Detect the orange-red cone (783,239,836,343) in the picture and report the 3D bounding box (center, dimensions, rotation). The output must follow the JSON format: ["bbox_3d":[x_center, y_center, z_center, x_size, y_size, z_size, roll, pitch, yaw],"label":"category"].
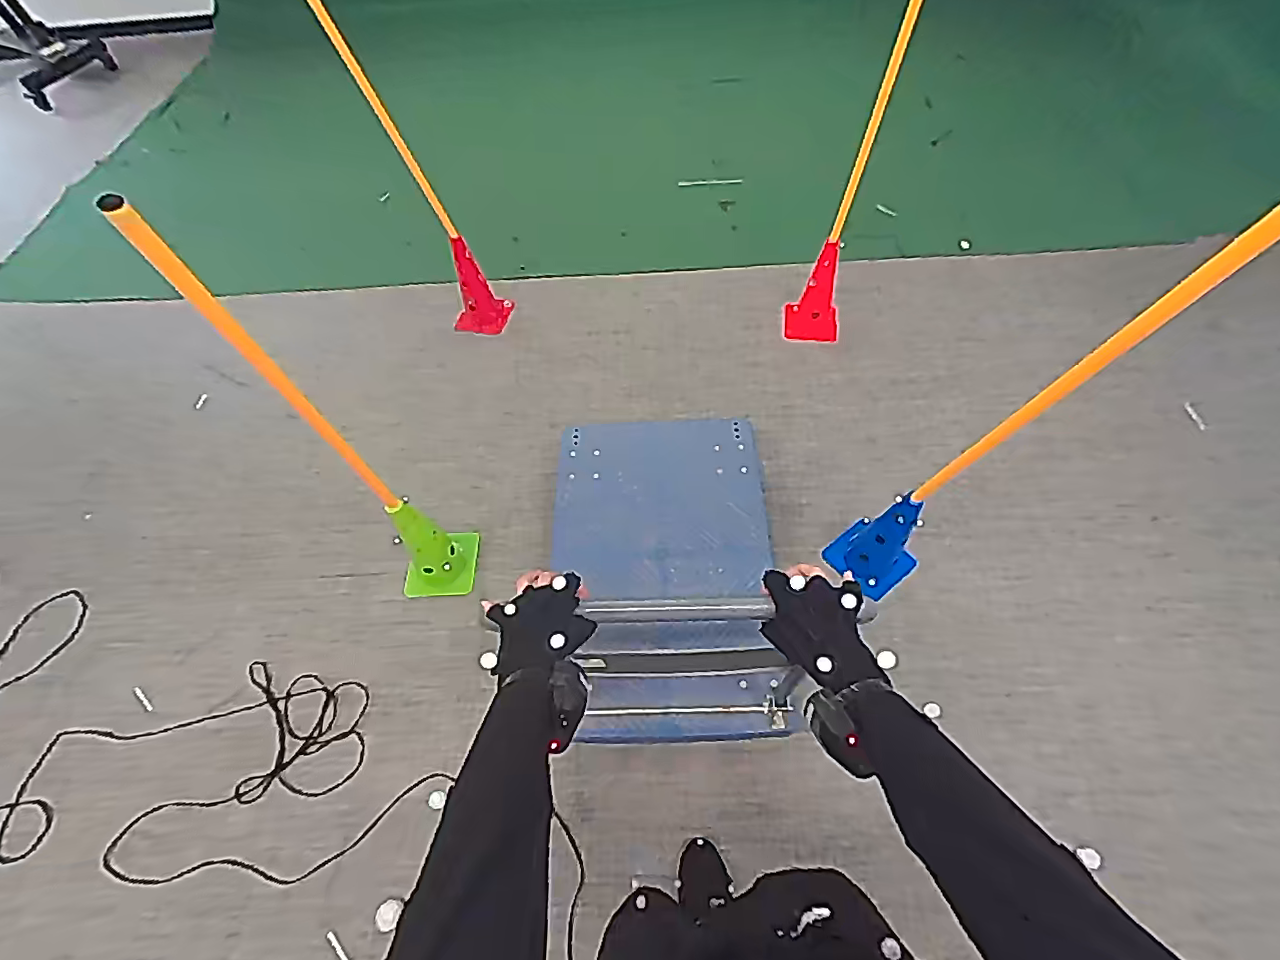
[{"bbox_3d":[0.642,-0.691,1.937,0.198,0.360,0.199,7,59,8],"label":"orange-red cone"}]
